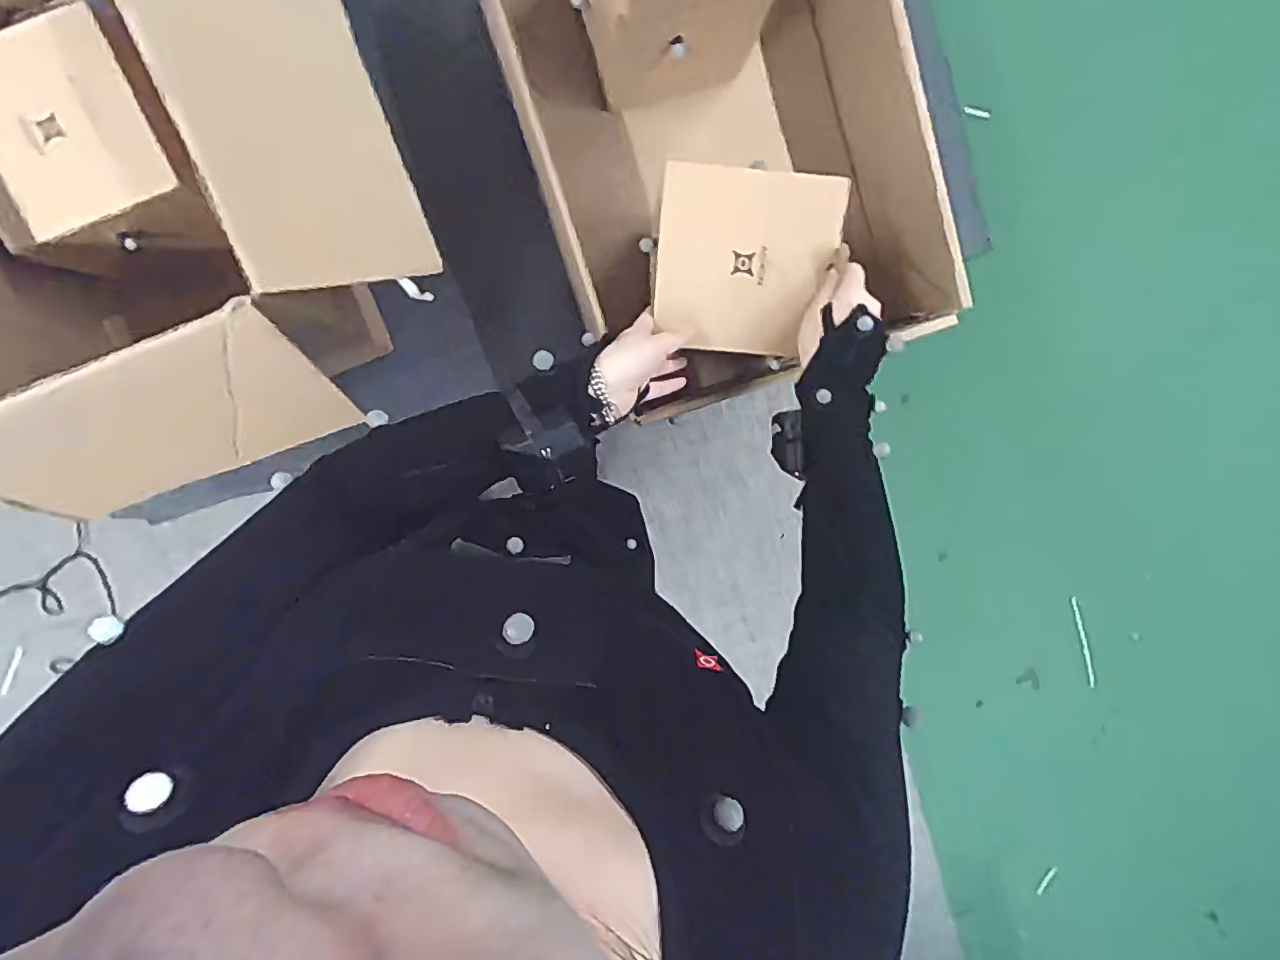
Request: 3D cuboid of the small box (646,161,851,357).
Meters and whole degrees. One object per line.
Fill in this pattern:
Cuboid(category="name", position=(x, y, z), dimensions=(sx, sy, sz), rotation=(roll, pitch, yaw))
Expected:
Cuboid(category="small box", position=(0.101, -0.227, 0.594), dimensions=(0.179, 0.176, 0.168), rotation=(3, 105, -4))
